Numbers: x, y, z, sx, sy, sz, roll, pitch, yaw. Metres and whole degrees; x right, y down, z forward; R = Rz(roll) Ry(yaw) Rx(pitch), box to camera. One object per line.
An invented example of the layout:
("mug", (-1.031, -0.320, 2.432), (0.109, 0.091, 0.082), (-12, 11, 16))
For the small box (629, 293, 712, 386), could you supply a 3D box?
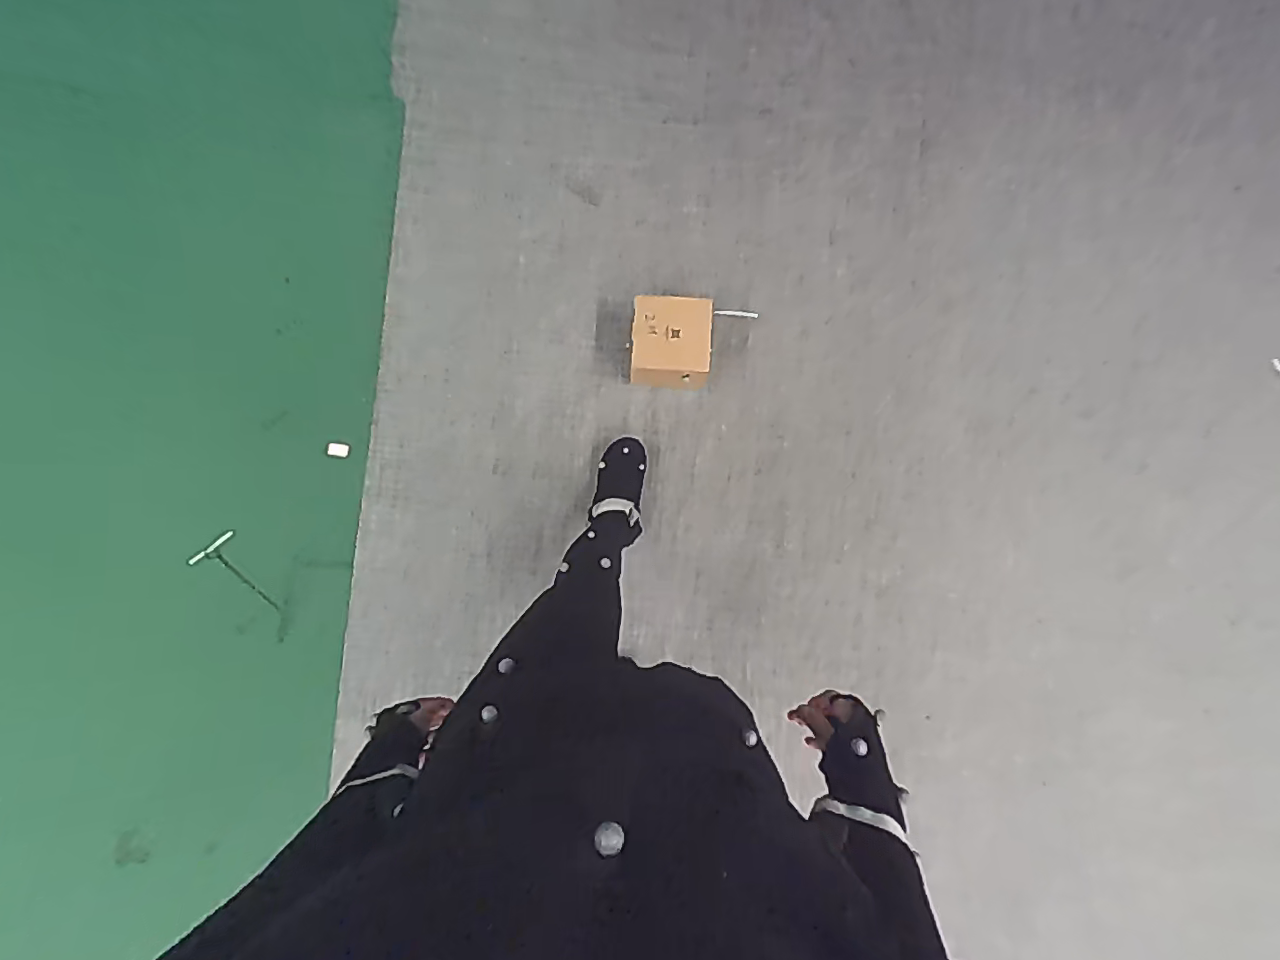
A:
("small box", (0.067, -0.323, 1.273), (0.179, 0.176, 0.168), (3, 86, 0))
